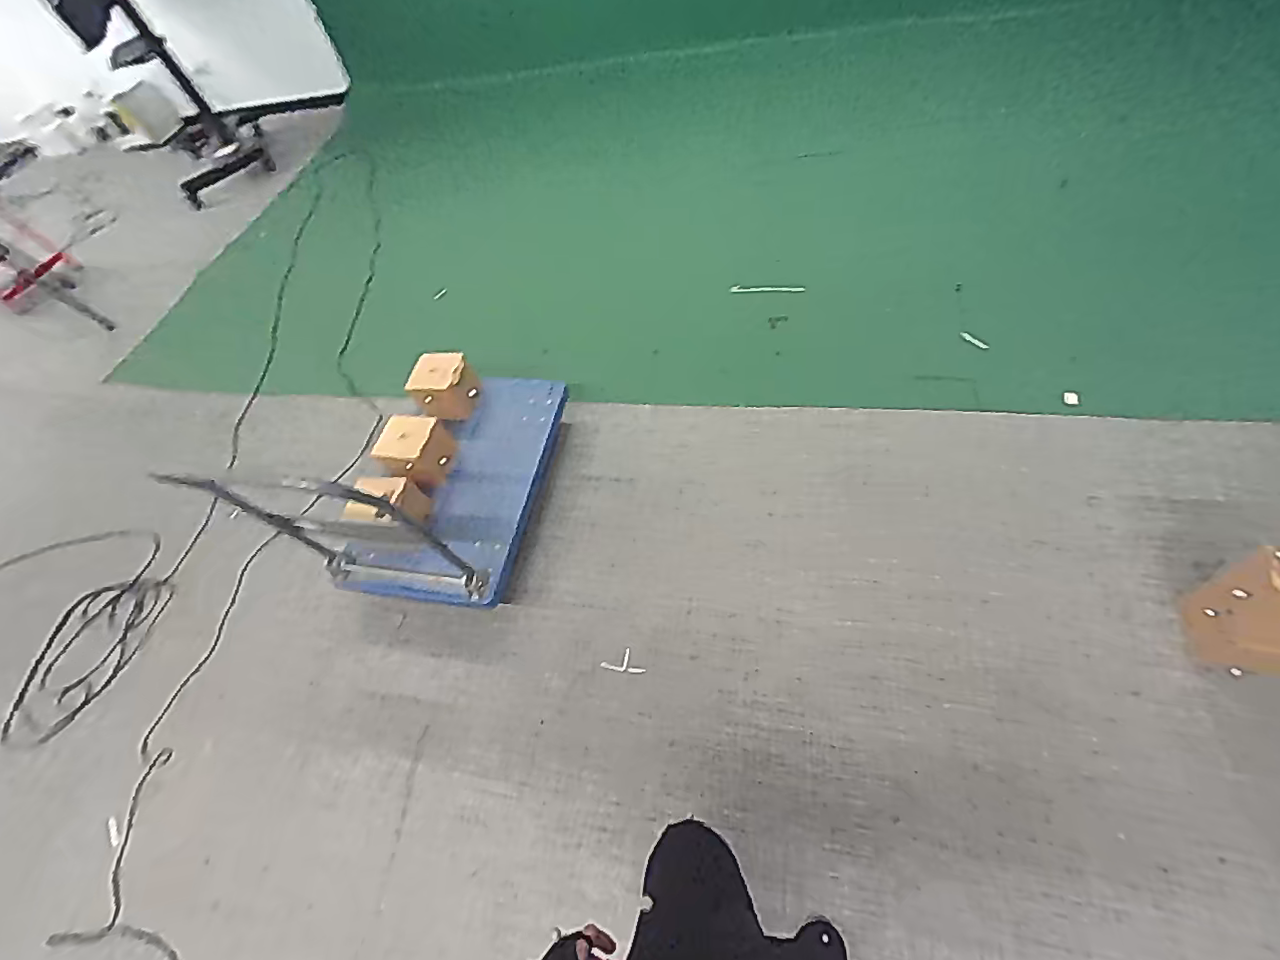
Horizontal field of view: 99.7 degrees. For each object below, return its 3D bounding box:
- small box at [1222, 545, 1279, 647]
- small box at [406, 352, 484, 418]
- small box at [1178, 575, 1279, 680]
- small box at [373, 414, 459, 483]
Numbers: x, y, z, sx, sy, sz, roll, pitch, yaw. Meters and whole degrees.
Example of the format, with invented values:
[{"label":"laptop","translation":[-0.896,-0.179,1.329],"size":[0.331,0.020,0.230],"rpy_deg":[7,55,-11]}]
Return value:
[{"label":"small box","translation":[1.406,0.259,1.152],"size":[0.179,0.176,0.168],"rpy_deg":[7,59,18]},{"label":"small box","translation":[-0.700,-0.341,1.957],"size":[0.179,0.176,0.168],"rpy_deg":[10,64,16]},{"label":"small box","translation":[1.438,0.352,1.283],"size":[0.168,0.176,0.179],"rpy_deg":[8,60,18]},{"label":"small box","translation":[-0.748,-0.104,1.823],"size":[0.179,0.176,0.168],"rpy_deg":[5,59,14]}]
